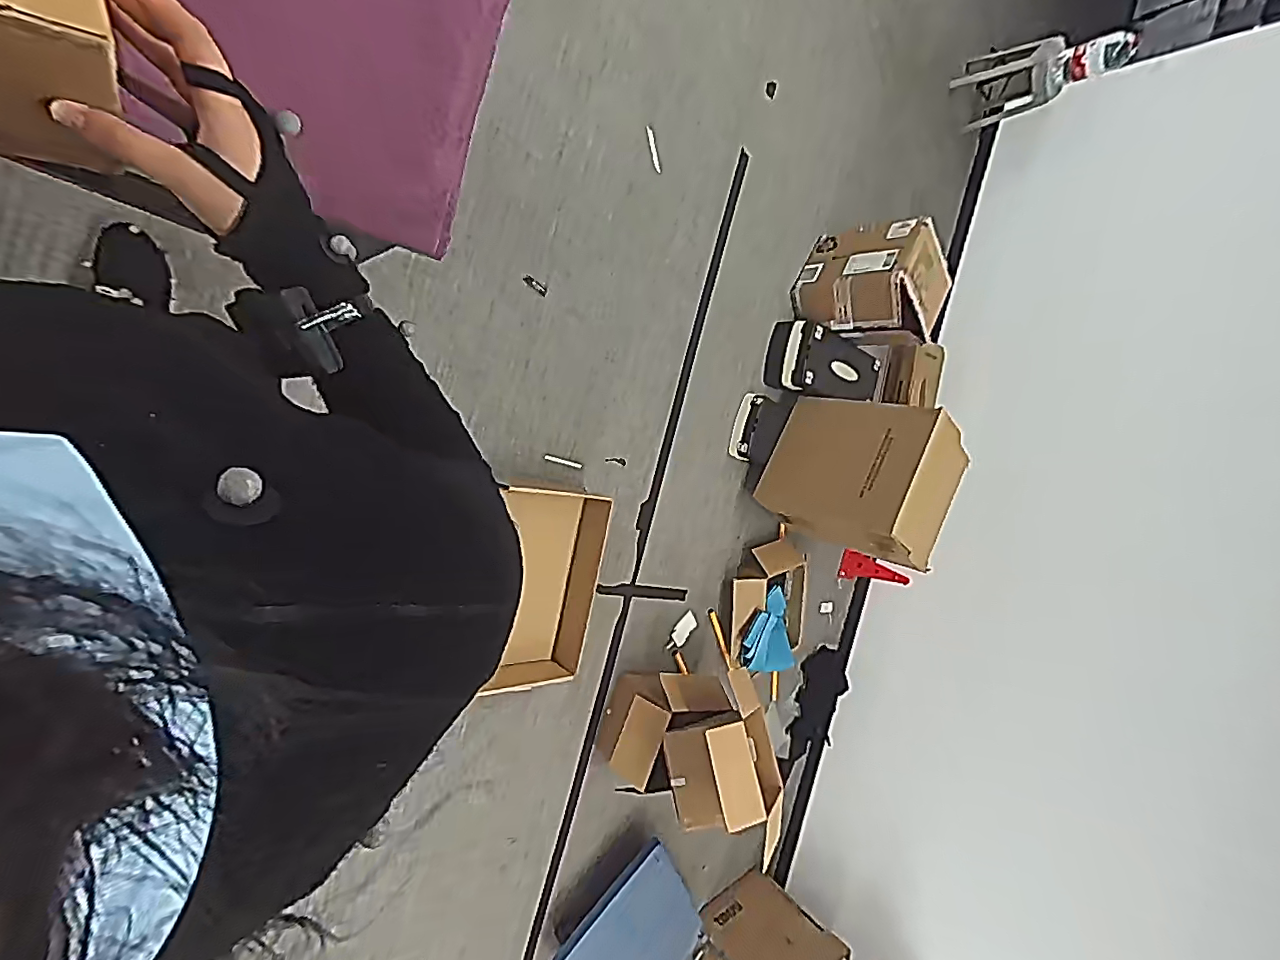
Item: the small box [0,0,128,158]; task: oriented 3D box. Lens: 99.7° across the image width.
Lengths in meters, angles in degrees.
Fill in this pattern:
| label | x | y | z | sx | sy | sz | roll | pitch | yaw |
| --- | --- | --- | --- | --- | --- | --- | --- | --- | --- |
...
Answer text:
| label | x | y | z | sx | sy | sz | roll | pitch | yaw |
| --- | --- | --- | --- | --- | --- | --- | --- | --- | --- |
| small box | -0.353 | -0.284 | 0.241 | 0.168 | 0.176 | 0.179 | -9 | 101 | -41 |
